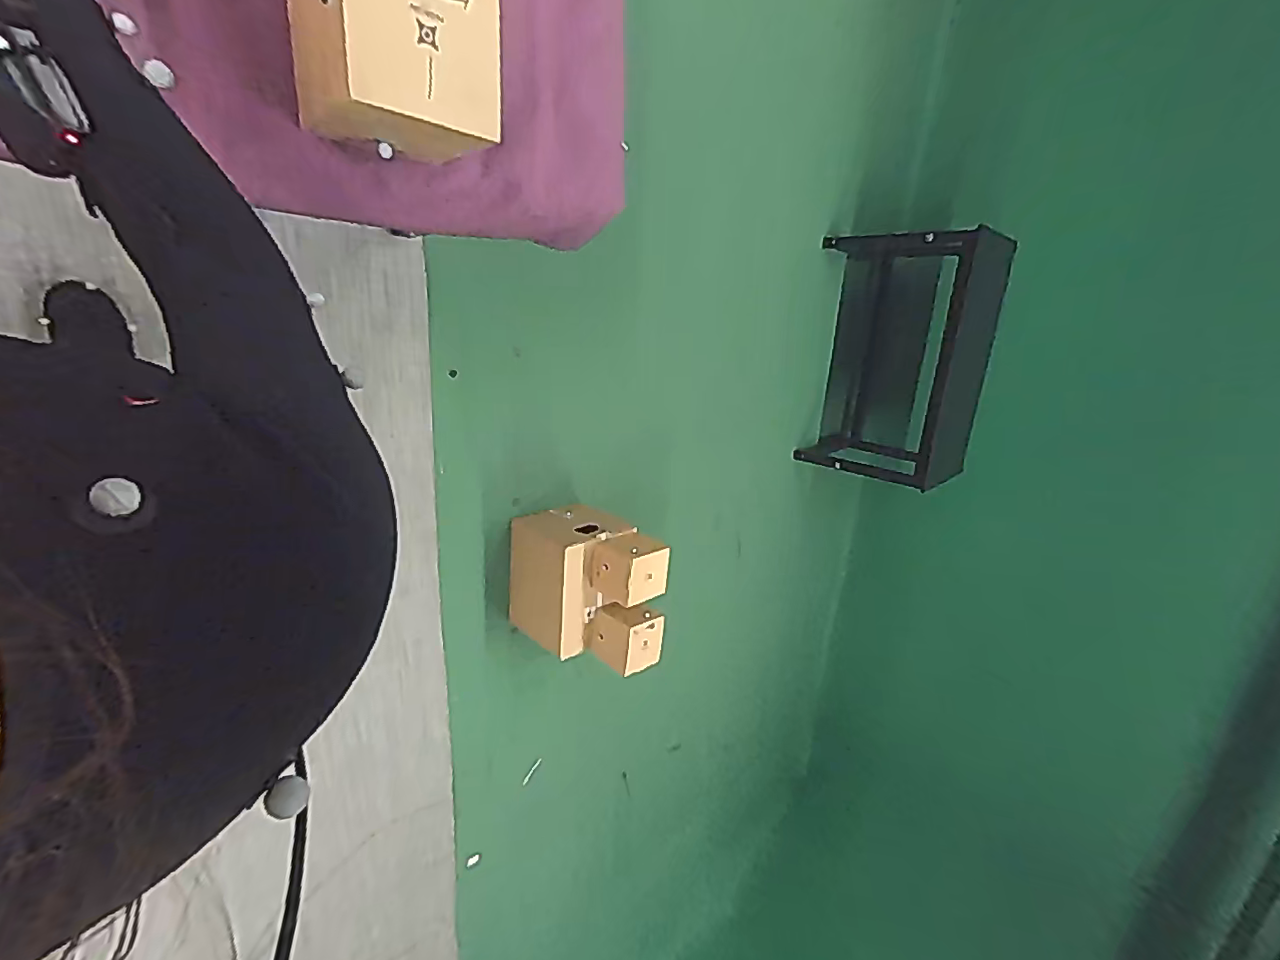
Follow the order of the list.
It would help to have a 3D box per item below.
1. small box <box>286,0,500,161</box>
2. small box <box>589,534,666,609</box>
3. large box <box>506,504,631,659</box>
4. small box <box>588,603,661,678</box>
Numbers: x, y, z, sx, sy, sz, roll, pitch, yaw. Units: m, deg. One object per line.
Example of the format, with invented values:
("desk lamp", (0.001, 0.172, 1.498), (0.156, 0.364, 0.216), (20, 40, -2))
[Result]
("small box", (-0.270, -0.476, 0.592), (0.168, 0.176, 0.179), (-12, 113, -43))
("small box", (-0.042, 0.286, 1.744), (0.179, 0.176, 0.168), (-10, 112, -45))
("large box", (-0.258, 0.335, 1.898), (0.320, 0.320, 0.408), (-10, 112, -44))
("small box", (-0.057, 0.525, 1.813), (0.168, 0.176, 0.179), (-5, 107, -47))
